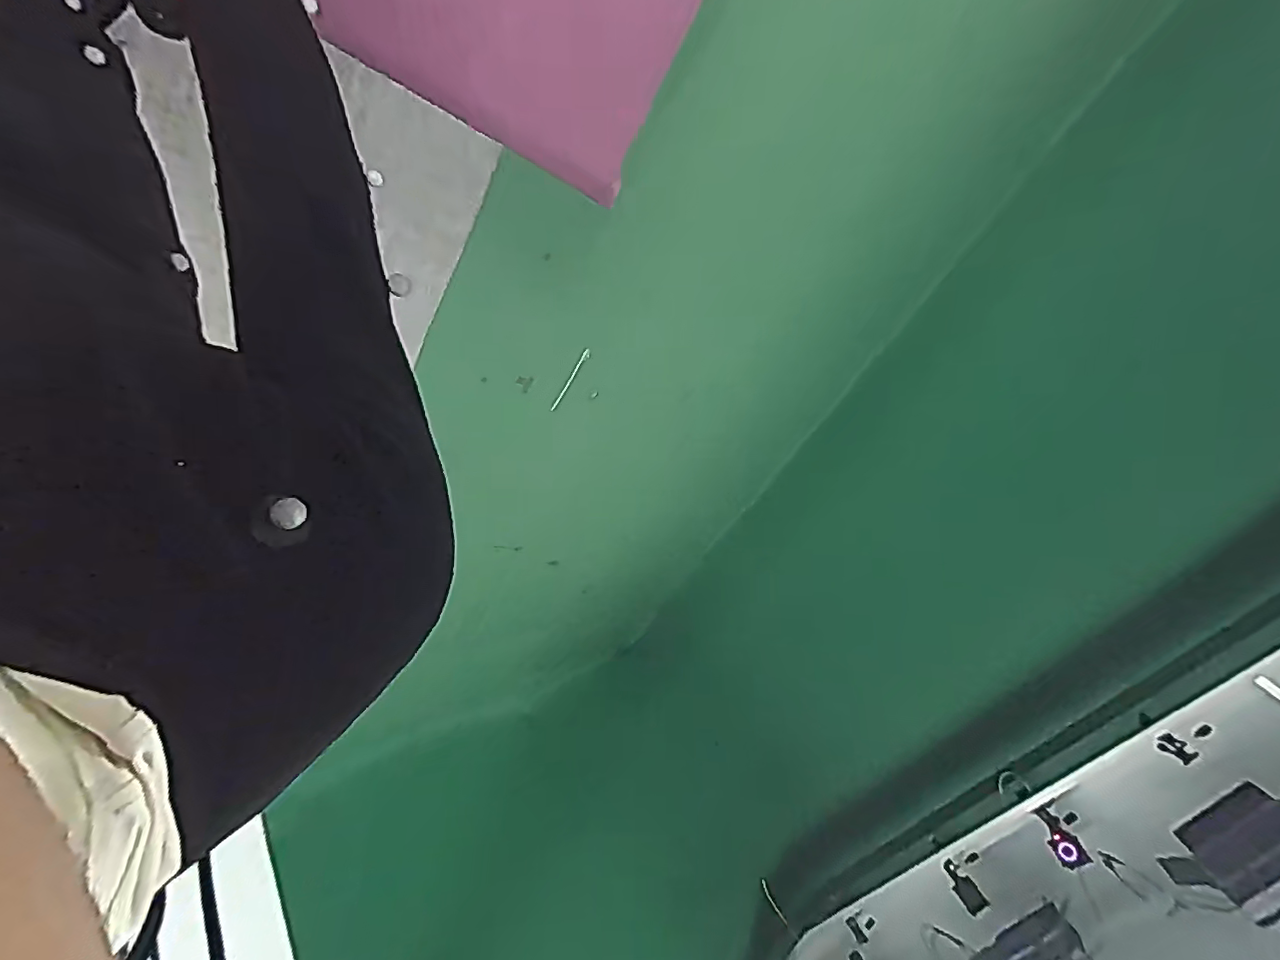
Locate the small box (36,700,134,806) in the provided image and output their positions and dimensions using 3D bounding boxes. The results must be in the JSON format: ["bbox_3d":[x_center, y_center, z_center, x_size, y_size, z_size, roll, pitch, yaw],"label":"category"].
[{"bbox_3d":[-1.507,0.733,1.465,0.168,0.176,0.179,3,130,-52],"label":"small box"}]

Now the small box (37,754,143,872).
[{"bbox_3d":[-1.414,0.844,1.387,0.168,0.176,0.179,5,128,-54],"label":"small box"}]
